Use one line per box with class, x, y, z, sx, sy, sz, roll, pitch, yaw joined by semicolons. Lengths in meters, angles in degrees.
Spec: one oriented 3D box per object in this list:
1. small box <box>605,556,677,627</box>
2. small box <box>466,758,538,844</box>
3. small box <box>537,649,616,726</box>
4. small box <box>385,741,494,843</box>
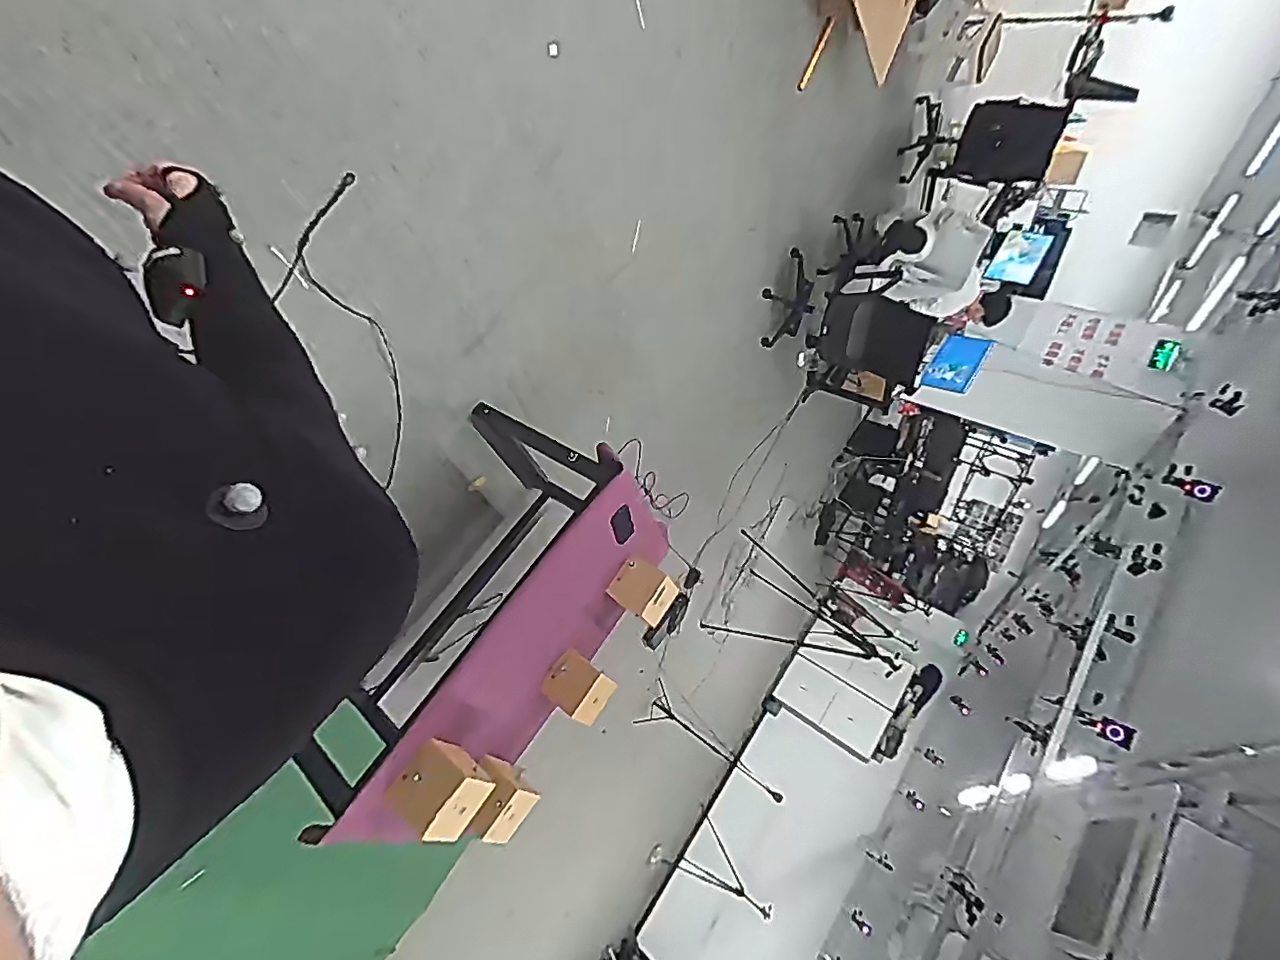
small box;0.003;0.395;1.931;0.168;0.176;0.179;-54;149;-15
small box;-0.458;1.000;1.690;0.168;0.176;0.179;-52;148;-21
small box;-0.216;0.702;1.836;0.168;0.176;0.179;-54;148;-18
small box;-0.530;0.825;1.435;0.168;0.176;0.179;-52;148;-21
